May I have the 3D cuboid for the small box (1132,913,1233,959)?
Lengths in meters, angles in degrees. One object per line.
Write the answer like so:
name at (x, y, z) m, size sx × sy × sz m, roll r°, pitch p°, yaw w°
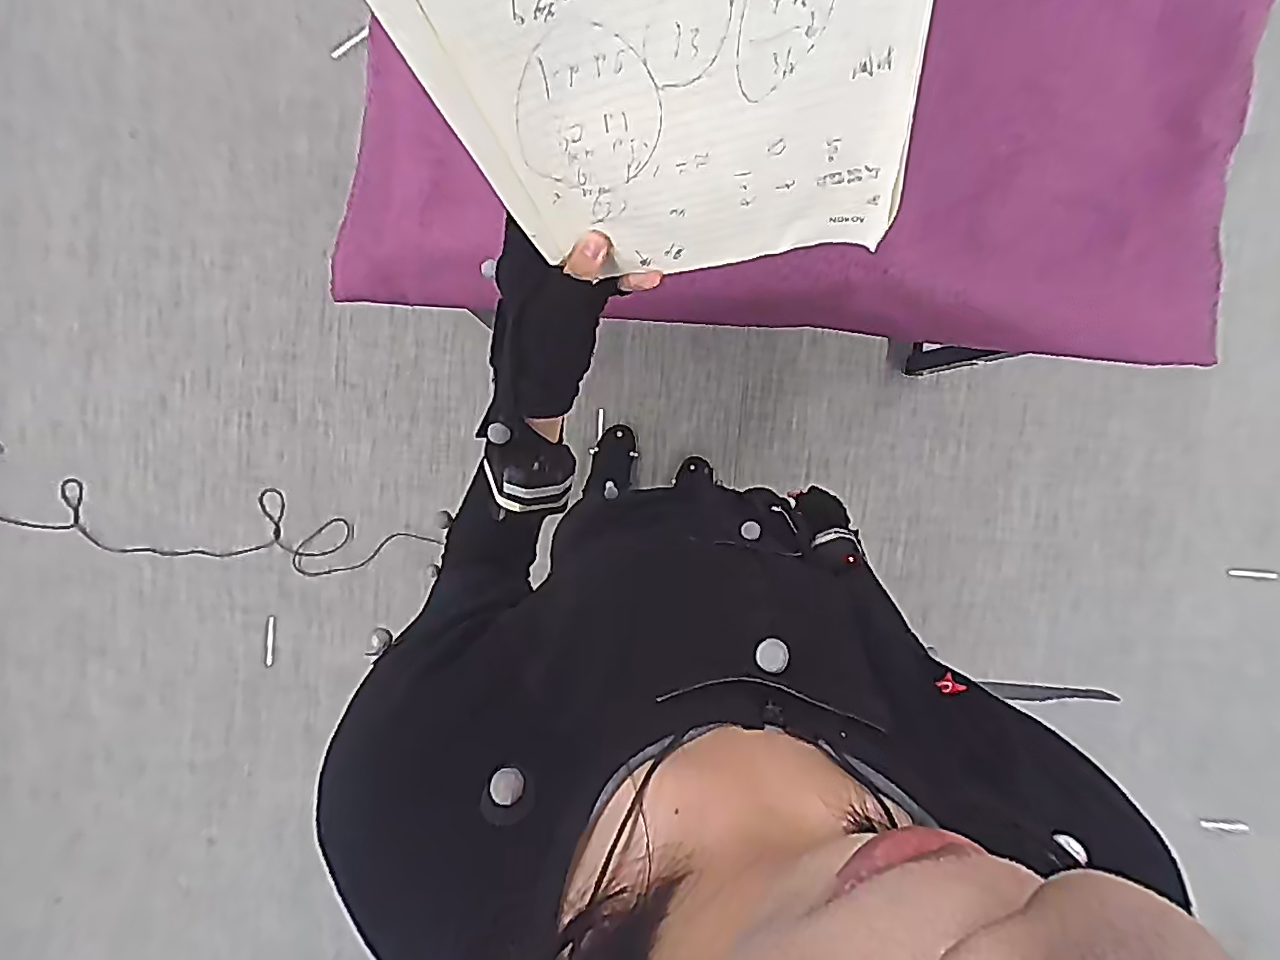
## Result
small box at (1.636, 1.460, 1.614) m, size 0.168 × 0.176 × 0.179 m, roll -18°, pitch 94°, yaw -1°
